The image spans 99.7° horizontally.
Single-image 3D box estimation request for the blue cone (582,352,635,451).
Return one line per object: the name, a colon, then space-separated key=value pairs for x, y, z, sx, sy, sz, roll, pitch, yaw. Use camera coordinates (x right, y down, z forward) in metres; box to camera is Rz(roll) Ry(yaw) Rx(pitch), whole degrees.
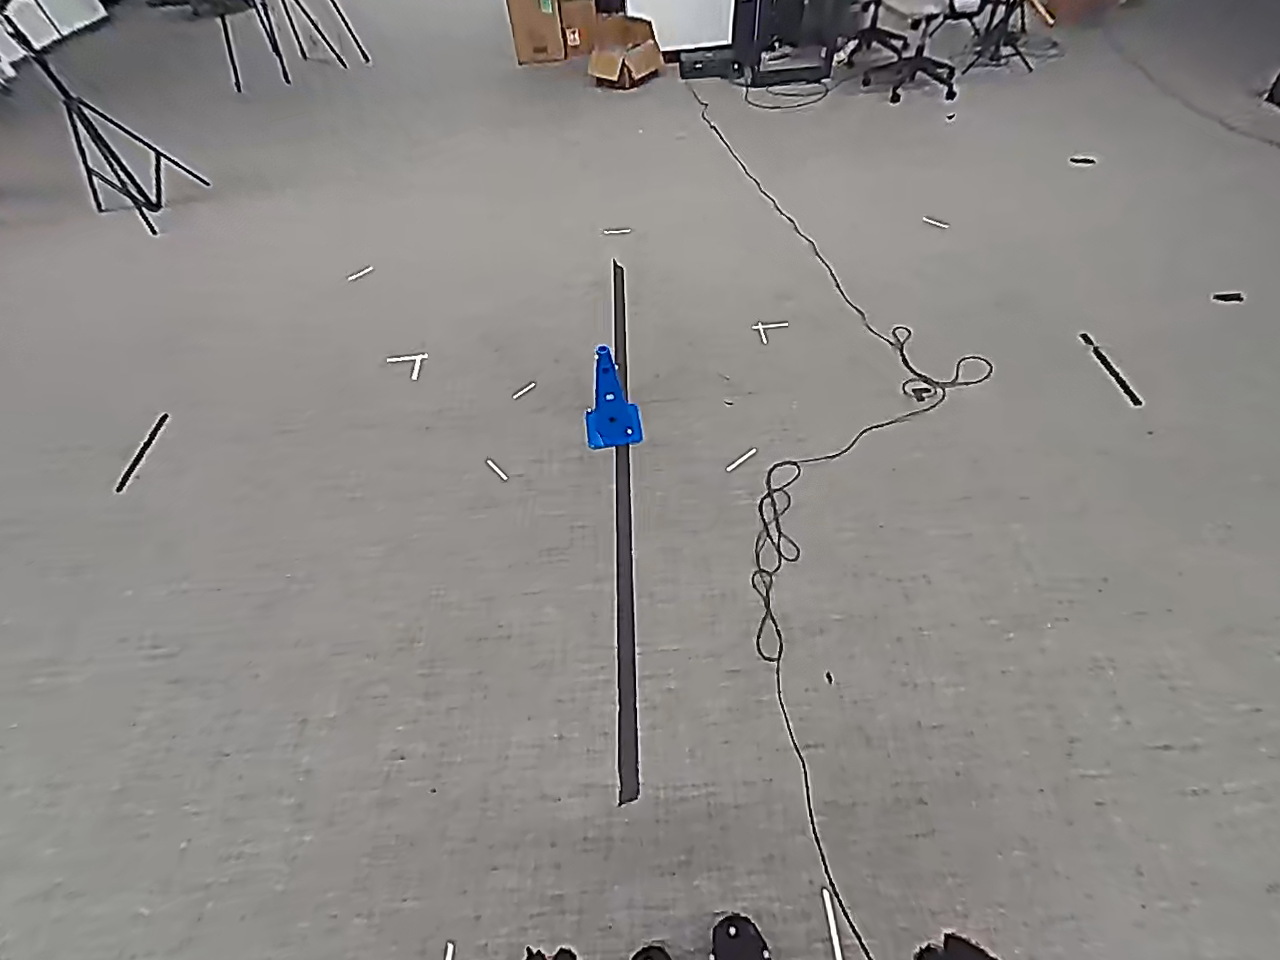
blue cone: x=-0.130 y=-0.290 z=1.877 sx=0.192 sy=0.380 sz=0.193 roll=-8 pitch=52 yaw=-1
